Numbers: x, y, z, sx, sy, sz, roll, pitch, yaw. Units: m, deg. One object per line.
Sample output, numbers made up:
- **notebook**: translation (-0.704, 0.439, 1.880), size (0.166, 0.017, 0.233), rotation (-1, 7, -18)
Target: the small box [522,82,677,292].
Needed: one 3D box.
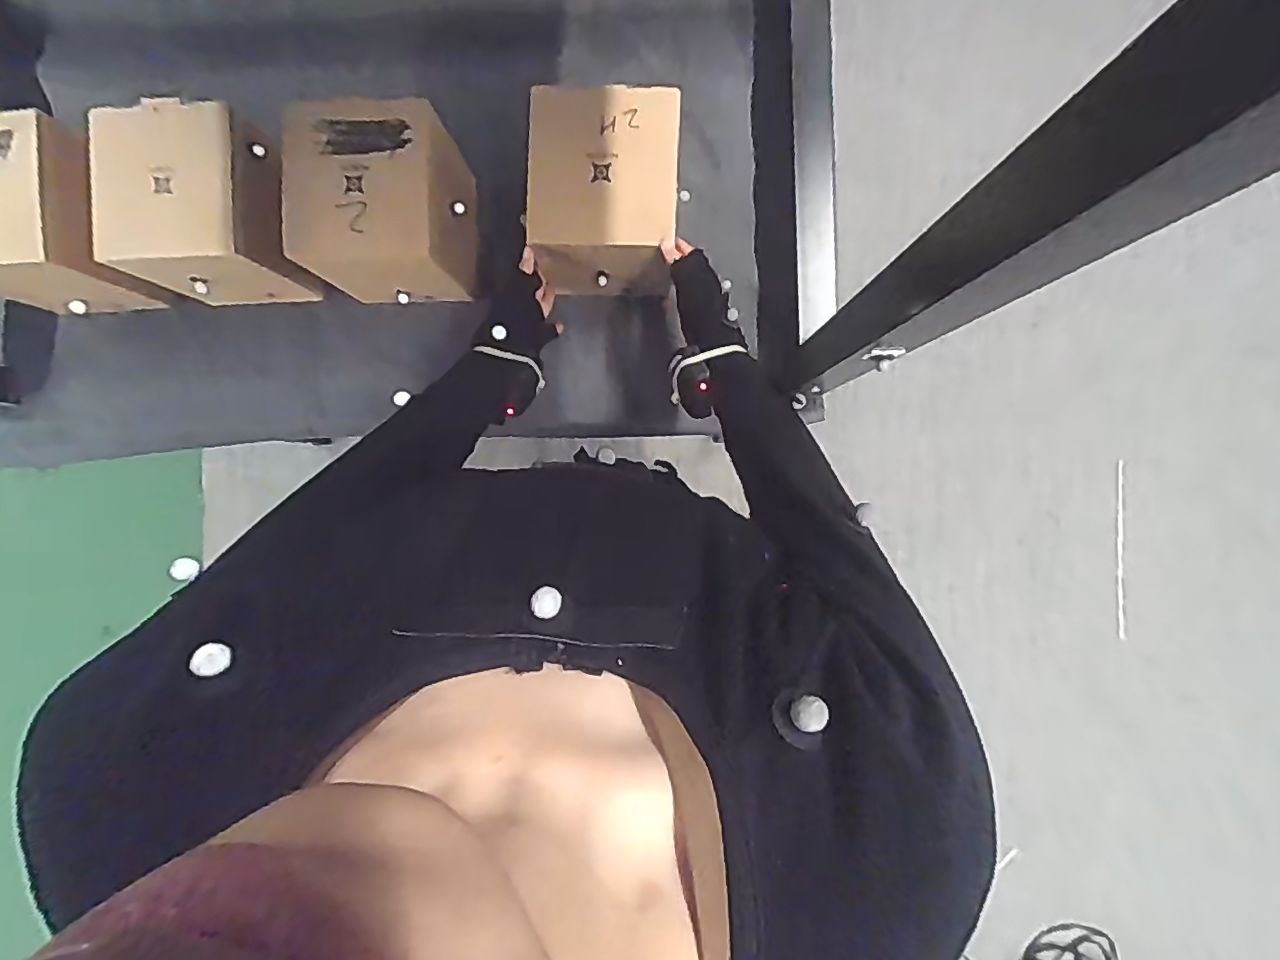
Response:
- **small box**: translation (-0.042, -0.344, 0.668), size (0.168, 0.176, 0.179), rotation (3, 90, 1)

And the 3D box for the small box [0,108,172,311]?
- **small box**: translation (-0.751, -0.332, 0.692), size (0.168, 0.176, 0.179), rotation (-3, 90, 2)
